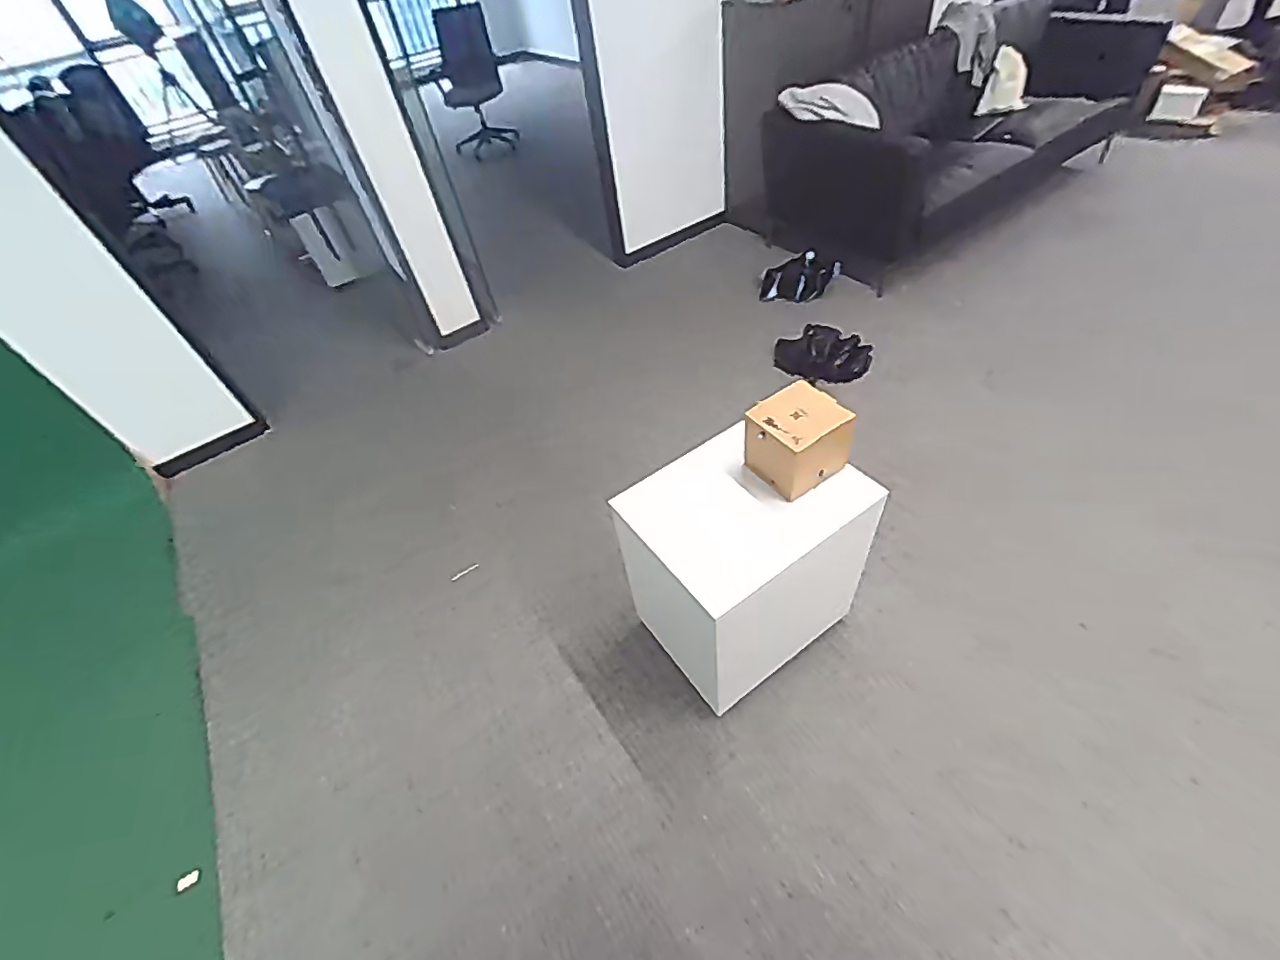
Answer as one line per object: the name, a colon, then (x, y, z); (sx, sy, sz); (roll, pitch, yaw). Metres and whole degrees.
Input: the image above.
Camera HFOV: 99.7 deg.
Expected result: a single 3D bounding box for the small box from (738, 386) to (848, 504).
small box: (0.338, -0.078, 1.235); (0.179, 0.176, 0.168); (-29, 50, -20)
